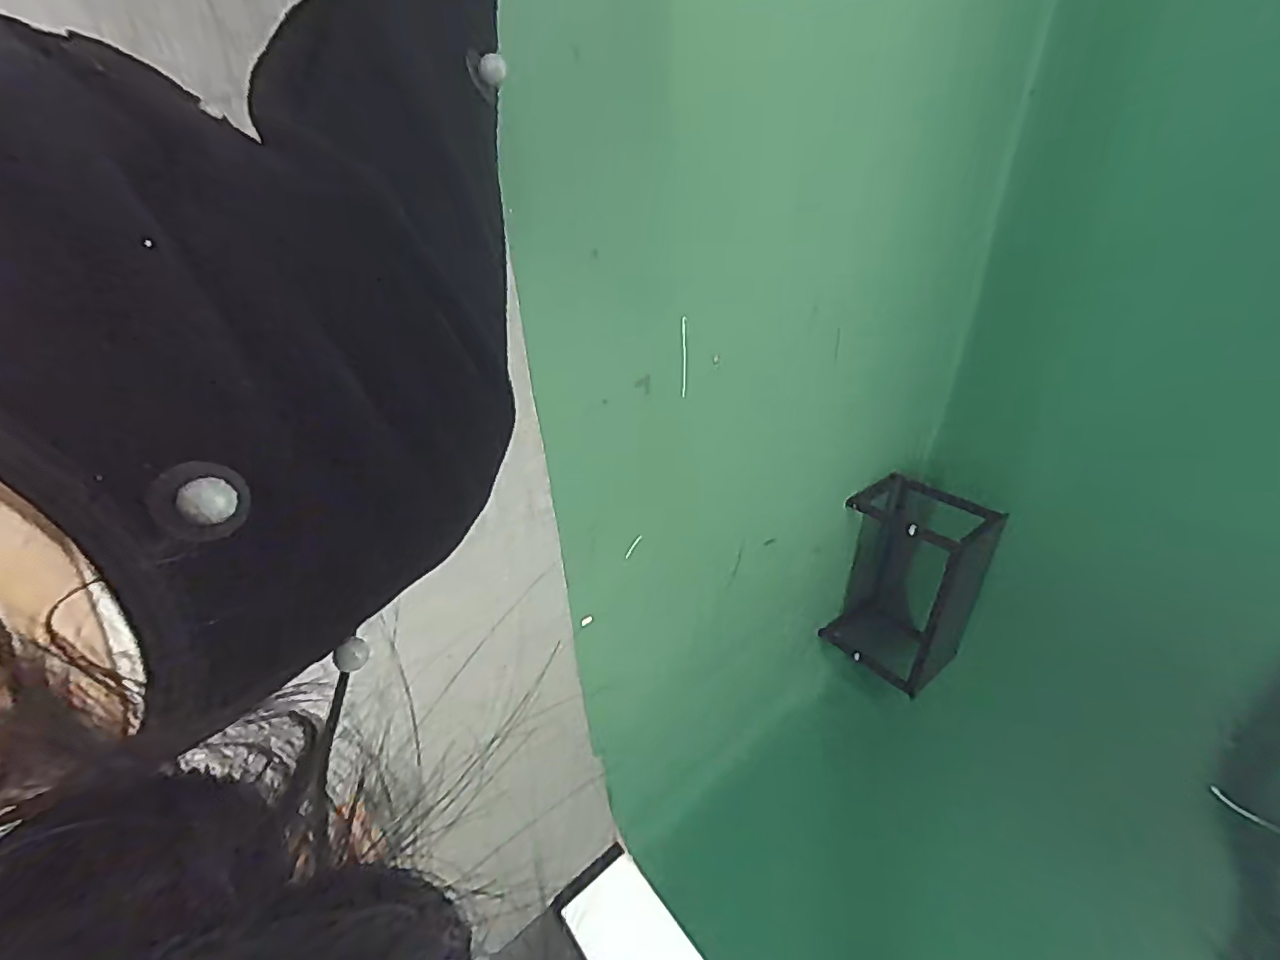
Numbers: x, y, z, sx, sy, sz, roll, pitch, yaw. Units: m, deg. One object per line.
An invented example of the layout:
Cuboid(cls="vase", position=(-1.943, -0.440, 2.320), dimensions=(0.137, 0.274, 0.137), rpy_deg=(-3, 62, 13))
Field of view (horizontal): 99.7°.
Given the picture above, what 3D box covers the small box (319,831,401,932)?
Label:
Cuboid(cls="small box", position=(-0.898, 1.272, 1.728), dimensions=(0.168, 0.176, 0.179), rpy_deg=(-27, 128, -29))
